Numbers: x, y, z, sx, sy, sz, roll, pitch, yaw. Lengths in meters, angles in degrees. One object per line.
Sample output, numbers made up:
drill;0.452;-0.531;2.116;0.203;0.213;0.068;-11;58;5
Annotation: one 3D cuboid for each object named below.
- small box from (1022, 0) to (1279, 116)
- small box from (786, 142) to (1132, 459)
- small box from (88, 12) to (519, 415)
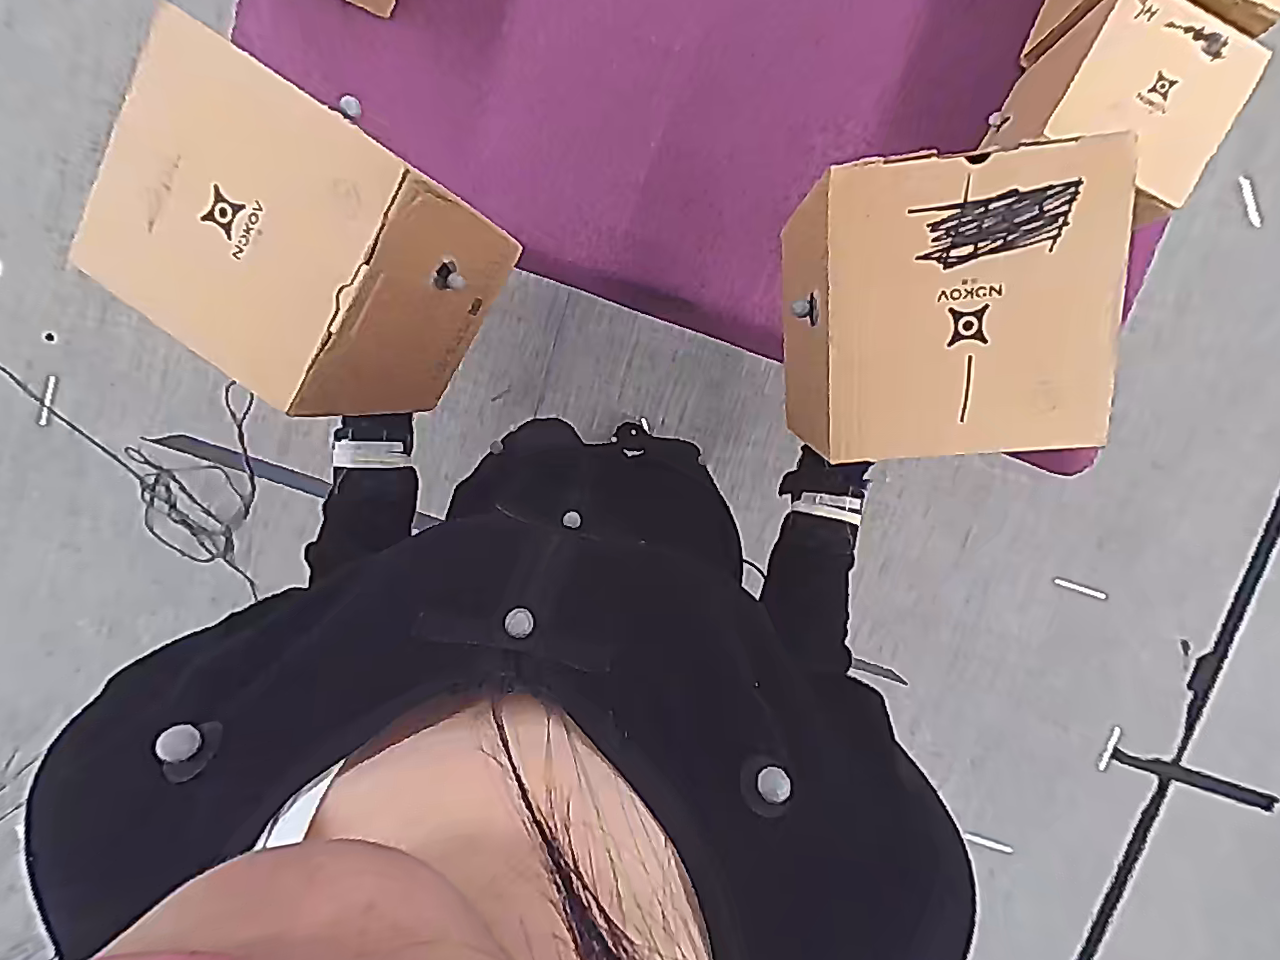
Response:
small box;0.585;-0.568;0.608;0.168;0.176;0.179;22;95;-3
small box;0.206;-0.119;0.404;0.168;0.176;0.179;-3;103;6
small box;-0.219;-0.165;0.397;0.179;0.176;0.168;35;101;3
